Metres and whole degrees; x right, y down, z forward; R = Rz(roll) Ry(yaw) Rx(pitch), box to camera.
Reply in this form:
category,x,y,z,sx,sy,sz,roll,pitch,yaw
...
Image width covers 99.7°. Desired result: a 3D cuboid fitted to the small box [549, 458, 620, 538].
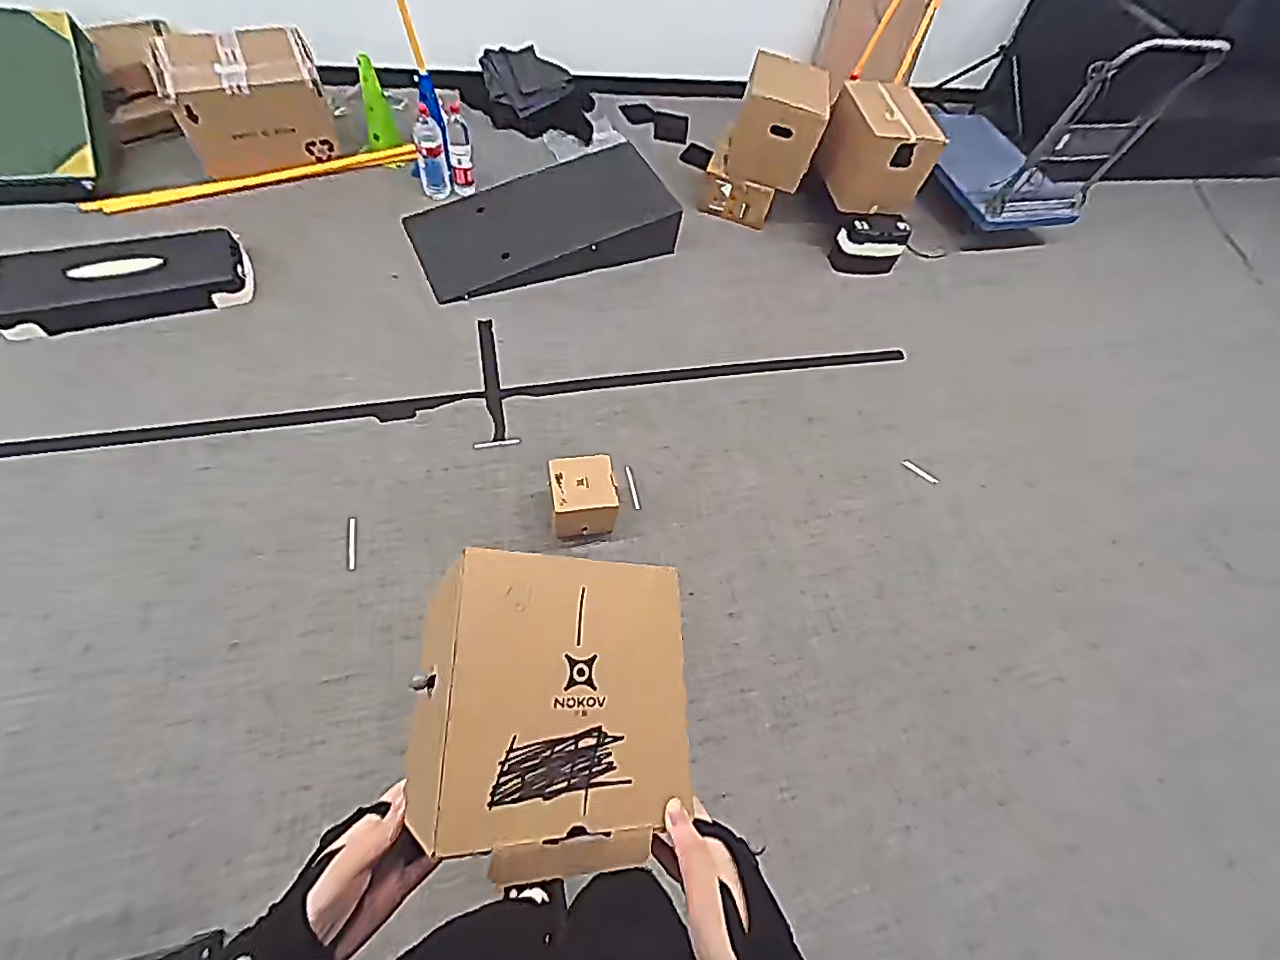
category,x,y,z,sx,sy,sz,roll,pitch,yaw
small box,-0.164,0.053,1.538,0.179,0.176,0.168,-4,61,-13
